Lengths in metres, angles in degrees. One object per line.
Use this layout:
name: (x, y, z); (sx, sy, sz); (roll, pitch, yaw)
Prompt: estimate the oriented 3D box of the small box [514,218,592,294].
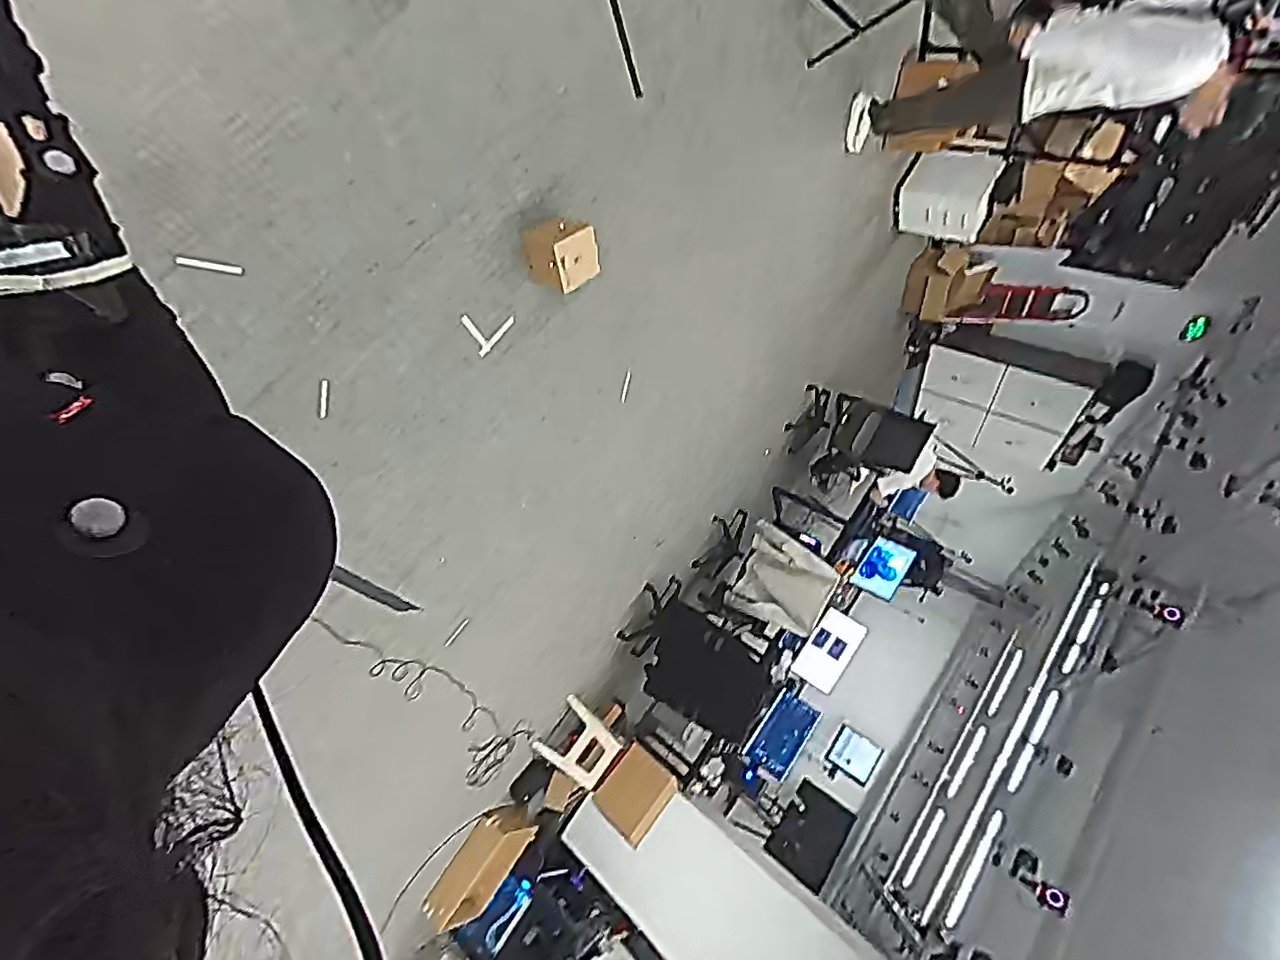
small box: (-0.286, -0.749, 1.793); (0.179, 0.176, 0.168); (-43, 146, -29)
